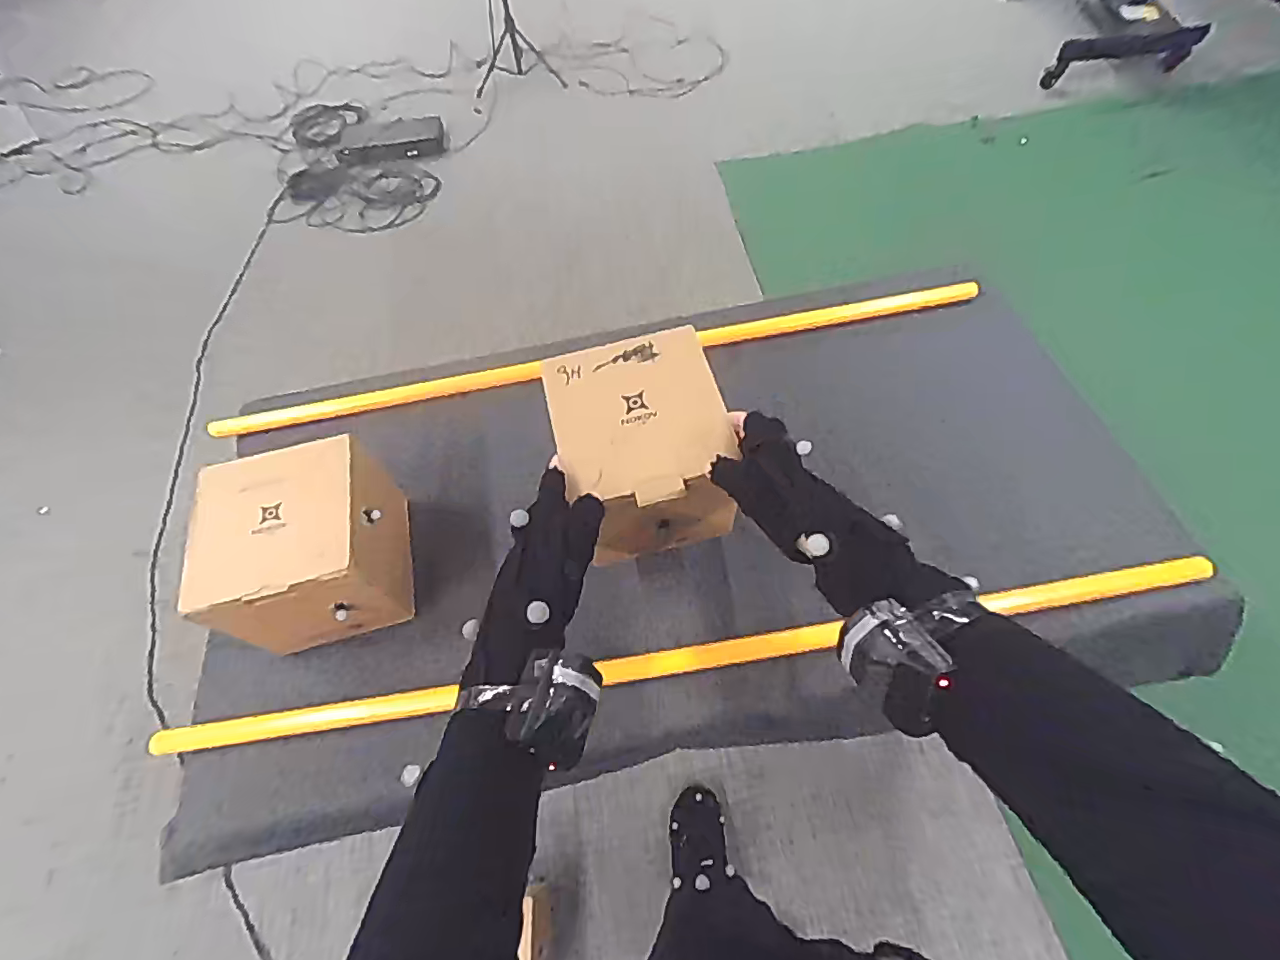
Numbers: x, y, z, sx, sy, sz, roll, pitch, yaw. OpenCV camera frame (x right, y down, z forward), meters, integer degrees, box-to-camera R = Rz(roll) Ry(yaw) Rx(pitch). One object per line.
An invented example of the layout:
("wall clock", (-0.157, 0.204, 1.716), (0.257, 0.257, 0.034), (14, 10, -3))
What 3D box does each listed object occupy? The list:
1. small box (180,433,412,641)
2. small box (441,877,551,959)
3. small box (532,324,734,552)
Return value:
("small box", (-0.383, 0.077, 0.638), (0.168, 0.176, 0.179), (-14, 59, -7))
("small box", (-0.266, 0.869, 1.023), (0.168, 0.176, 0.179), (-4, 62, 1))
("small box", (-0.004, -0.033, 0.599), (0.168, 0.176, 0.179), (-17, 63, -2))
